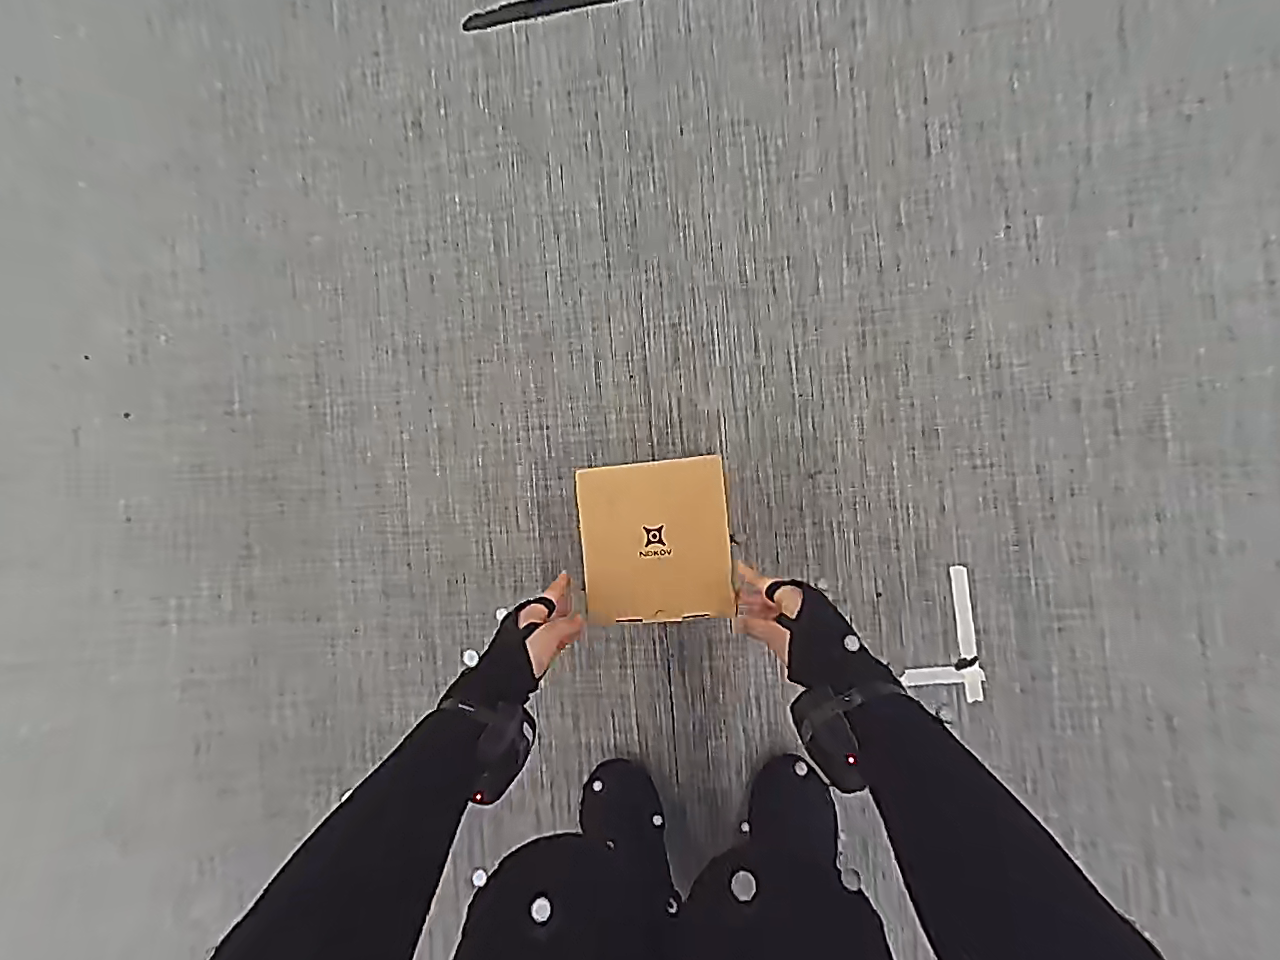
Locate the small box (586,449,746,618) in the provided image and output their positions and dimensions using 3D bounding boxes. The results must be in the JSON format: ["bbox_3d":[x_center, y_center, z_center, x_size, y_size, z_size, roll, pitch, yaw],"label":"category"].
[{"bbox_3d":[0.036,0.063,0.674,0.168,0.176,0.179,-6,88,7],"label":"small box"}]
